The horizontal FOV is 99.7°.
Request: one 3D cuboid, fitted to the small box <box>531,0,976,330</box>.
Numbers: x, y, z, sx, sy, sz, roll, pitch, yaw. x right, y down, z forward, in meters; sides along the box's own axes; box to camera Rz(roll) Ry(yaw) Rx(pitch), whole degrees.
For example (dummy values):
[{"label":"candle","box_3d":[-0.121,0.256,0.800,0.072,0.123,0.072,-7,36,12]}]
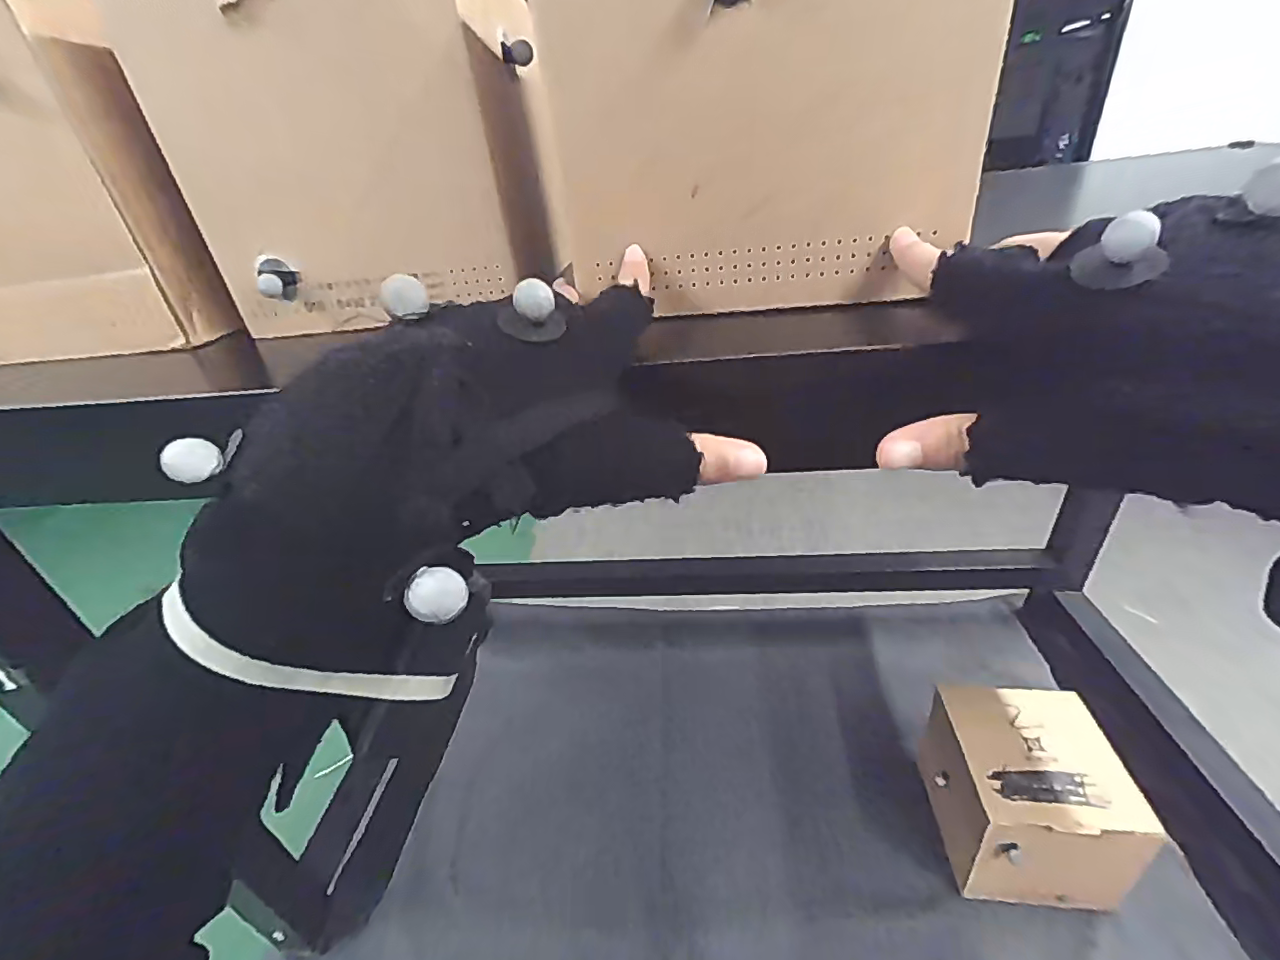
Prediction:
[{"label":"small box","box_3d":[0.056,-0.184,0.286,0.179,0.176,0.168,0,32,11]}]
